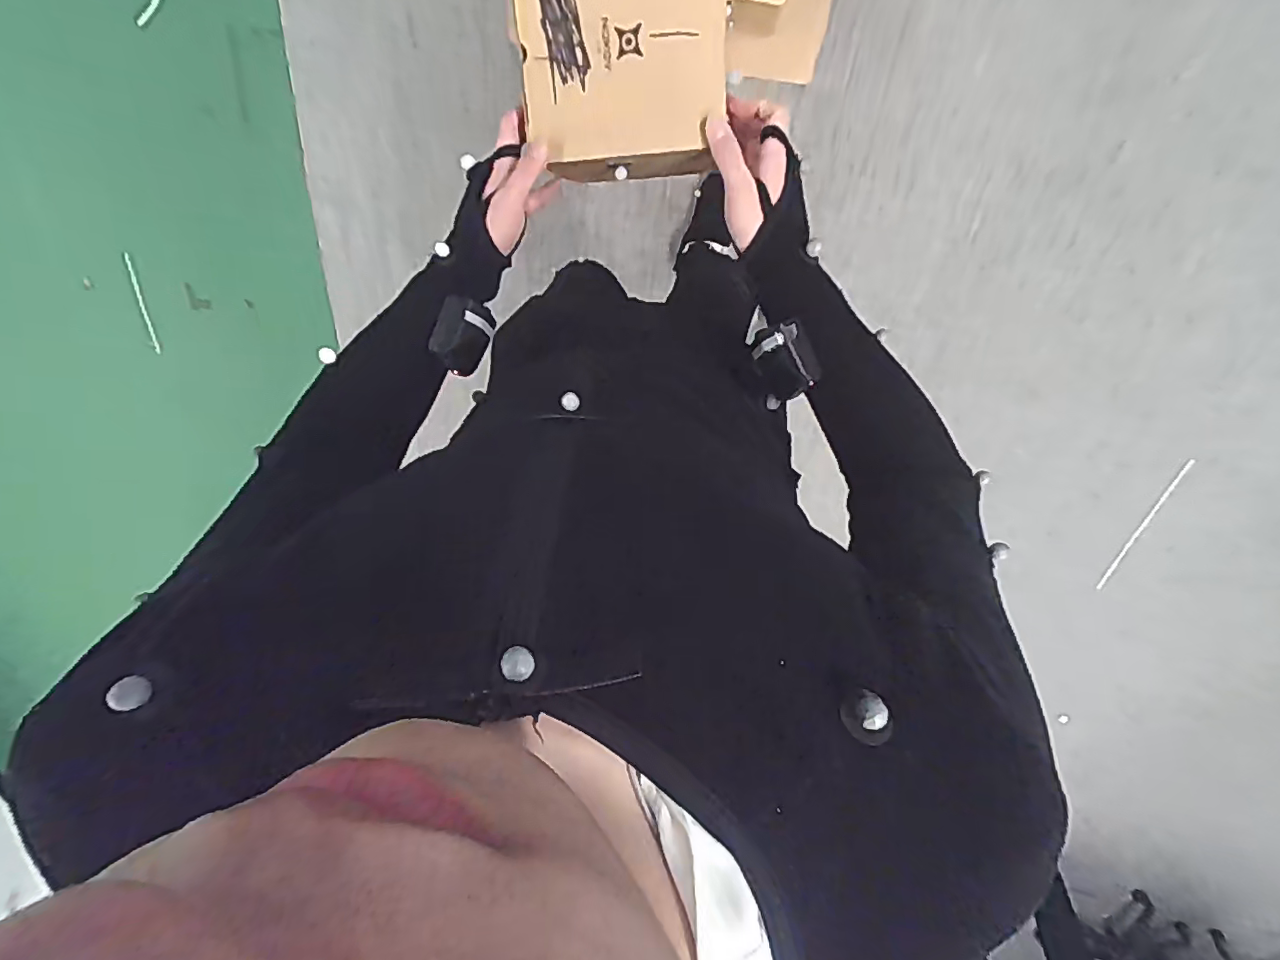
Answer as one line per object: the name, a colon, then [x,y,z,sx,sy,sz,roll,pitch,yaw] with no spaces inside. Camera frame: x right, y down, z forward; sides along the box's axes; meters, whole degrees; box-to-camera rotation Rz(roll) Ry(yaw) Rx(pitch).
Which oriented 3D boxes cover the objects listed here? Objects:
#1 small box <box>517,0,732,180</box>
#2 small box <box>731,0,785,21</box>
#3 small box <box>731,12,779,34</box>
small box: [-0.002,-0.393,0.516,0.179,0.176,0.168,0,113,8]
small box: [0.175,-0.908,0.919,0.179,0.176,0.168,11,123,4]
small box: [0.199,-0.997,1.052,0.179,0.176,0.168,12,122,3]
